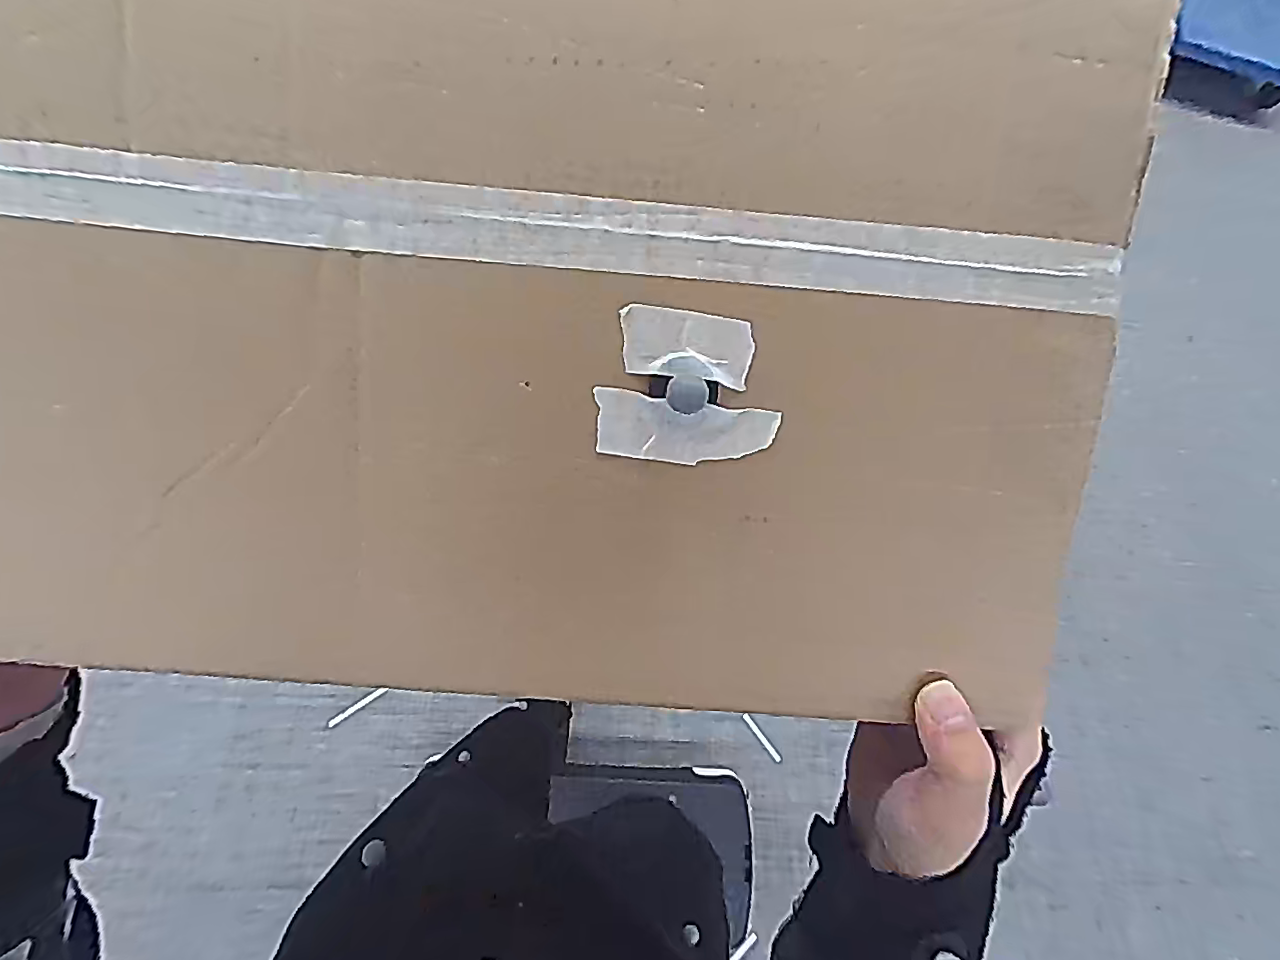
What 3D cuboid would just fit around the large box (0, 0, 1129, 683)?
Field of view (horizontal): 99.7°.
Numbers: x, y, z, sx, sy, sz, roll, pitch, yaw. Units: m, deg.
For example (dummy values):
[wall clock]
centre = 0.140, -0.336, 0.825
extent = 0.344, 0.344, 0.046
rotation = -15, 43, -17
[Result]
[large box]
centre = -0.052, -0.103, 0.329
extent = 0.408, 0.320, 0.320
rotation = 4, 99, -3
